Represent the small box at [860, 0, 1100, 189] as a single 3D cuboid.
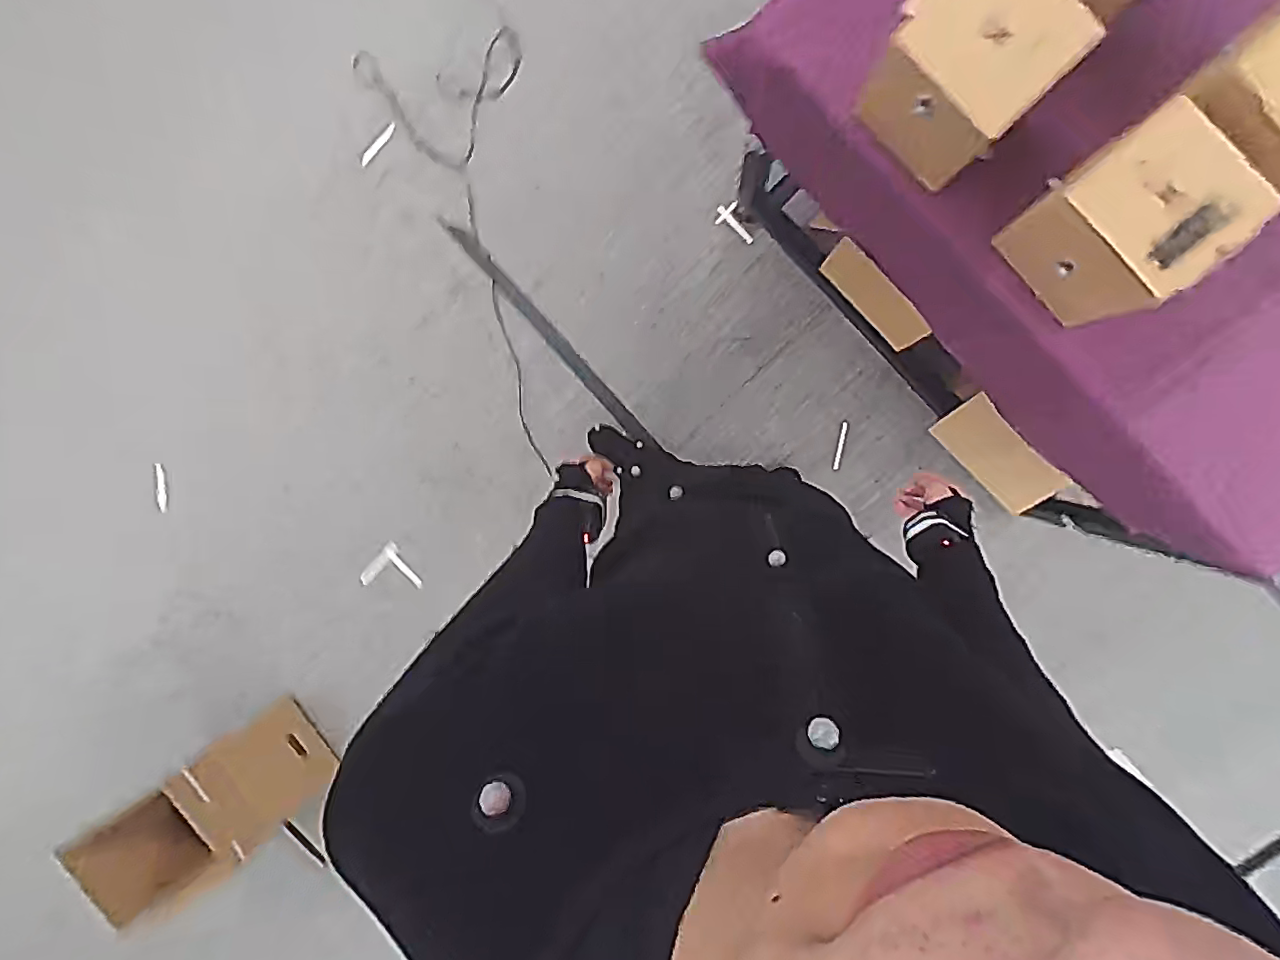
[{"bbox_3d":[0.429,-0.533,0.720,0.168,0.176,0.179,-43,92,8],"label":"small box"}]
